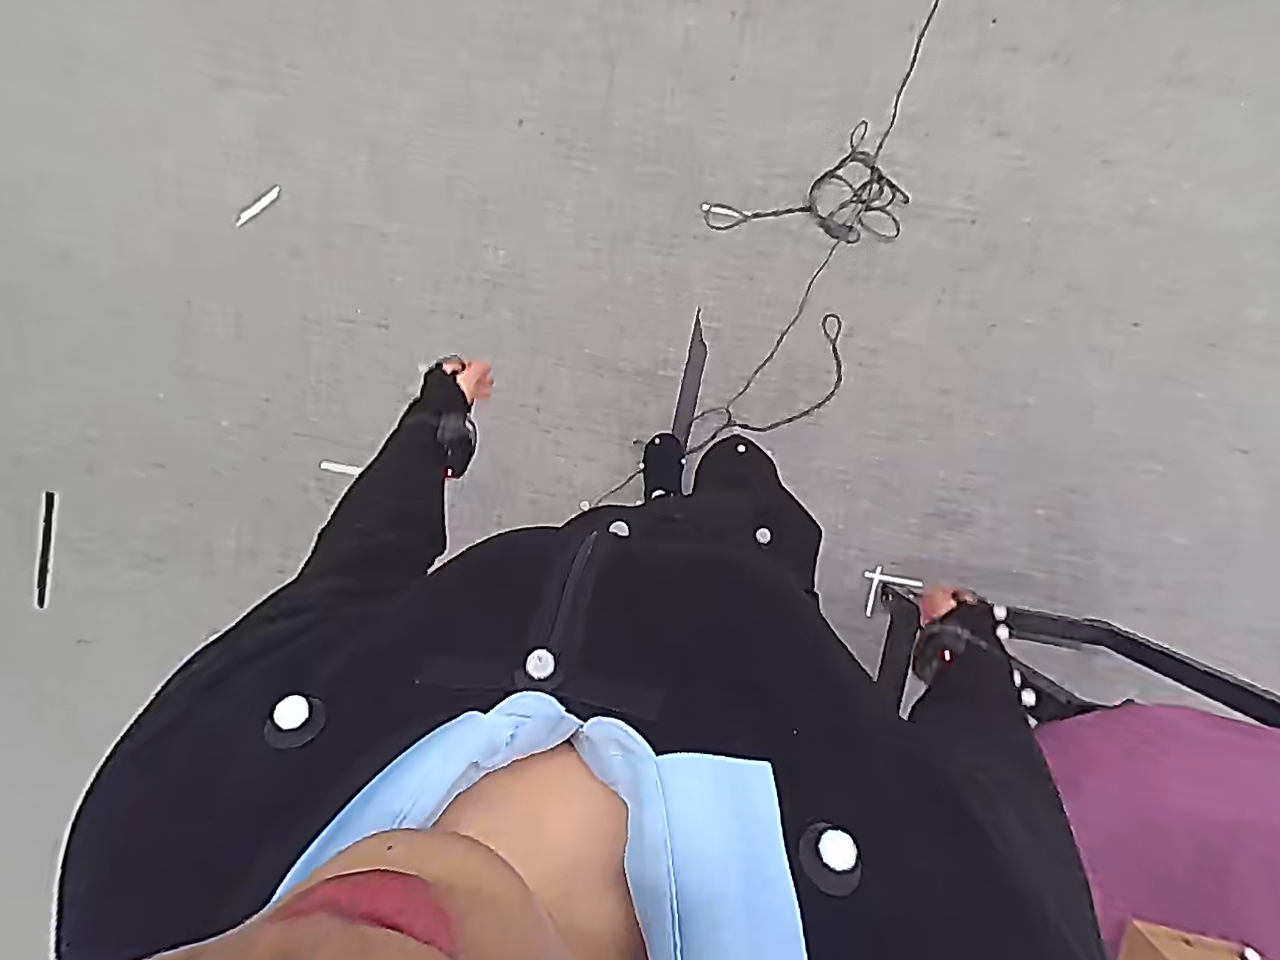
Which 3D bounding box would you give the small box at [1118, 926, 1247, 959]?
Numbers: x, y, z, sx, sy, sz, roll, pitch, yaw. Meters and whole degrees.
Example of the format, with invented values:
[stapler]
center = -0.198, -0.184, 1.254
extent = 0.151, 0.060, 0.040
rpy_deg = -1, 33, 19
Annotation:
[small box]
center = 0.725, 0.709, 0.665
extent = 0.168, 0.176, 0.179
rpy_deg = 11, 95, 4
